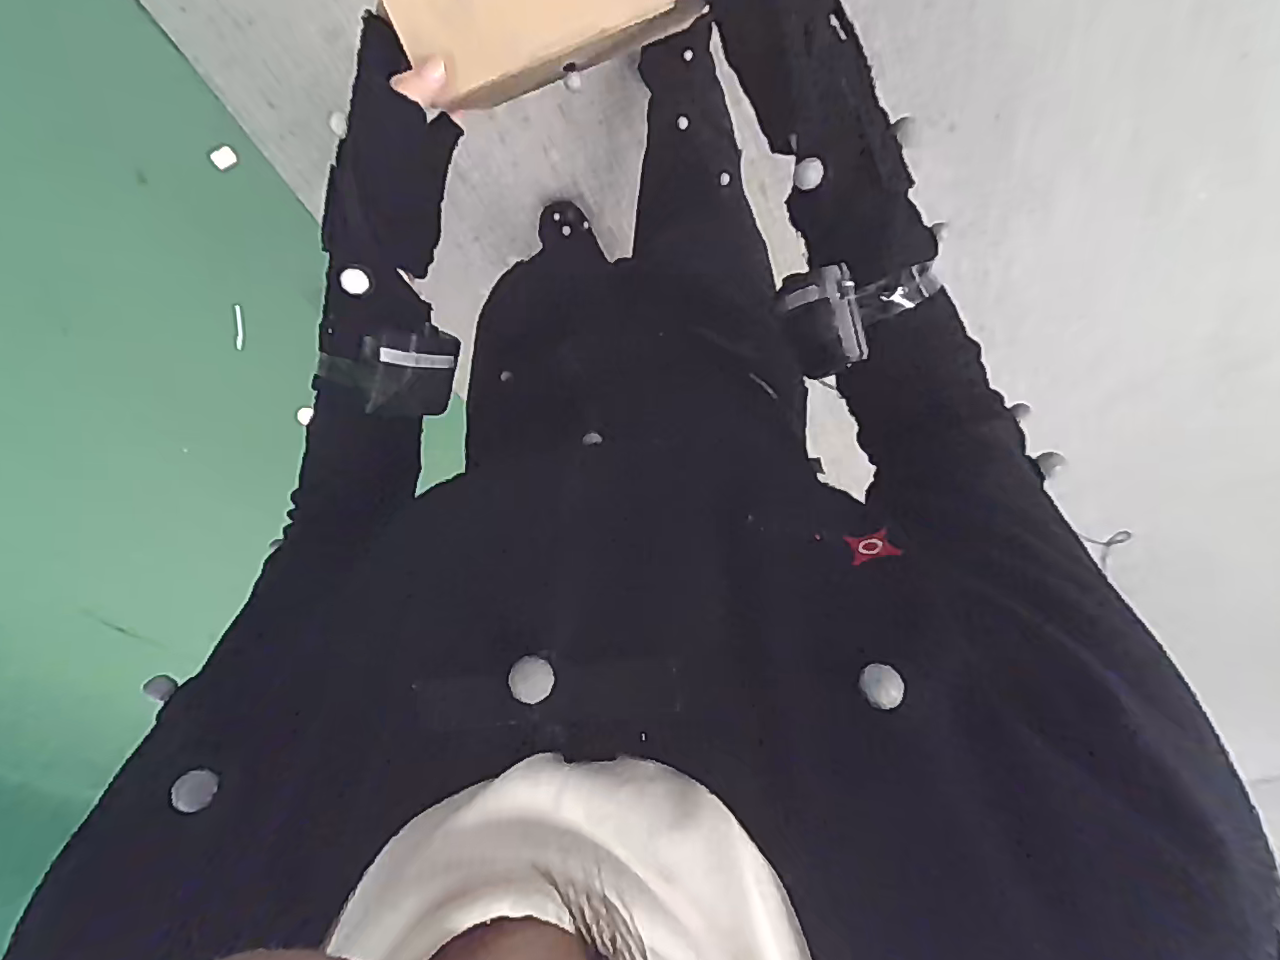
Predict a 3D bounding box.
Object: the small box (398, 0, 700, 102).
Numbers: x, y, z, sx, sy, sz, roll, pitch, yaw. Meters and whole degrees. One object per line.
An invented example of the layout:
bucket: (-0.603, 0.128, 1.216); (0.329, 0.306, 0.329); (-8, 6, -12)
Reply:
small box: (-0.067, -0.360, 0.334); (0.179, 0.176, 0.168); (-17, 122, 8)
